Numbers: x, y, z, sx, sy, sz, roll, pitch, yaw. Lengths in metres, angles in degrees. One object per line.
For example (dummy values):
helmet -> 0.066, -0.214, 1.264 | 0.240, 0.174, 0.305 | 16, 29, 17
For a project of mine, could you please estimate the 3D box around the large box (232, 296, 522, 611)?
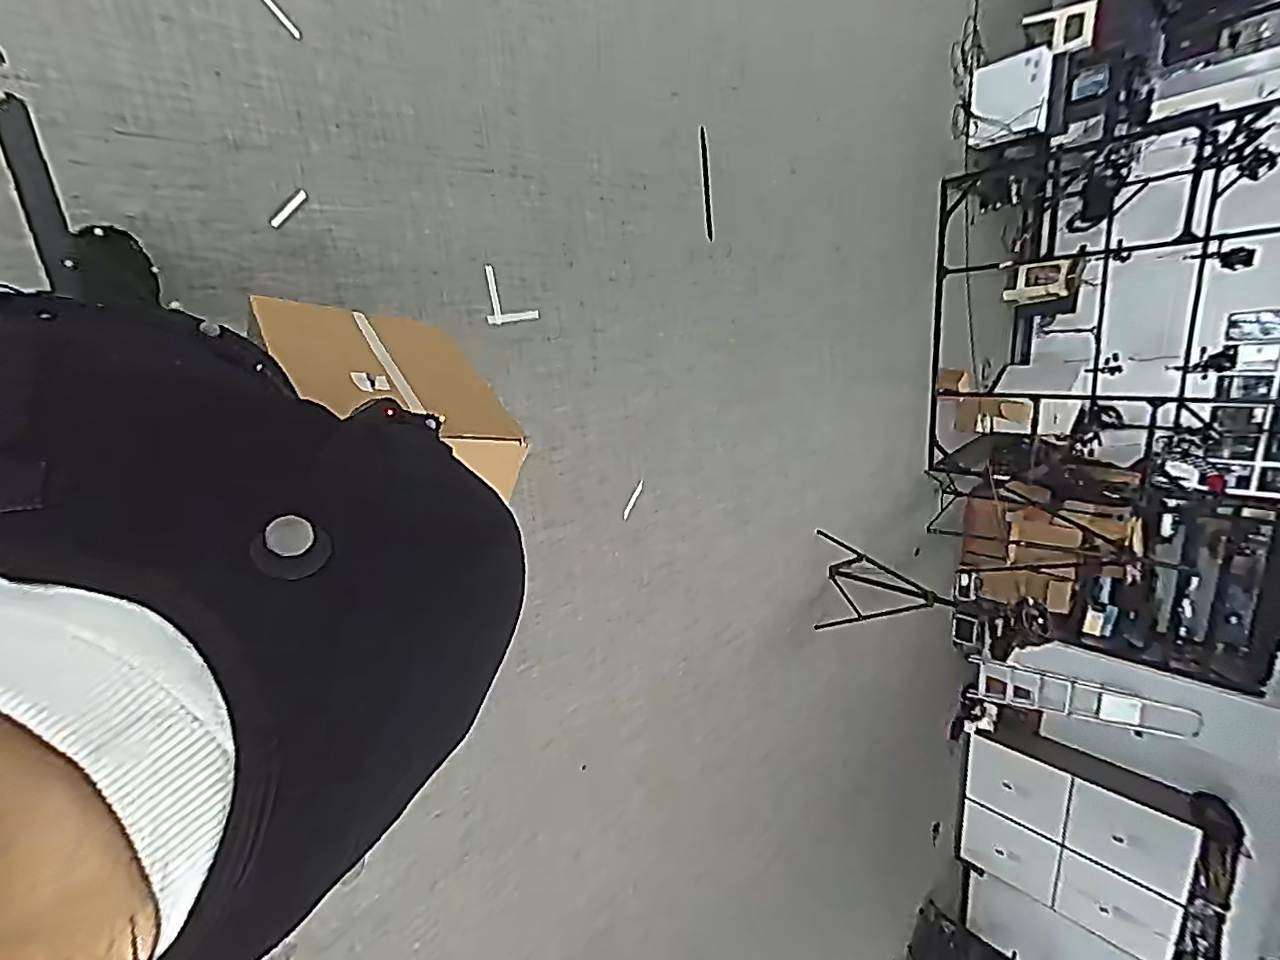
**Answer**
large box -> -0.460, -0.052, 0.906 | 0.320, 0.408, 0.320 | -2, 130, -42
